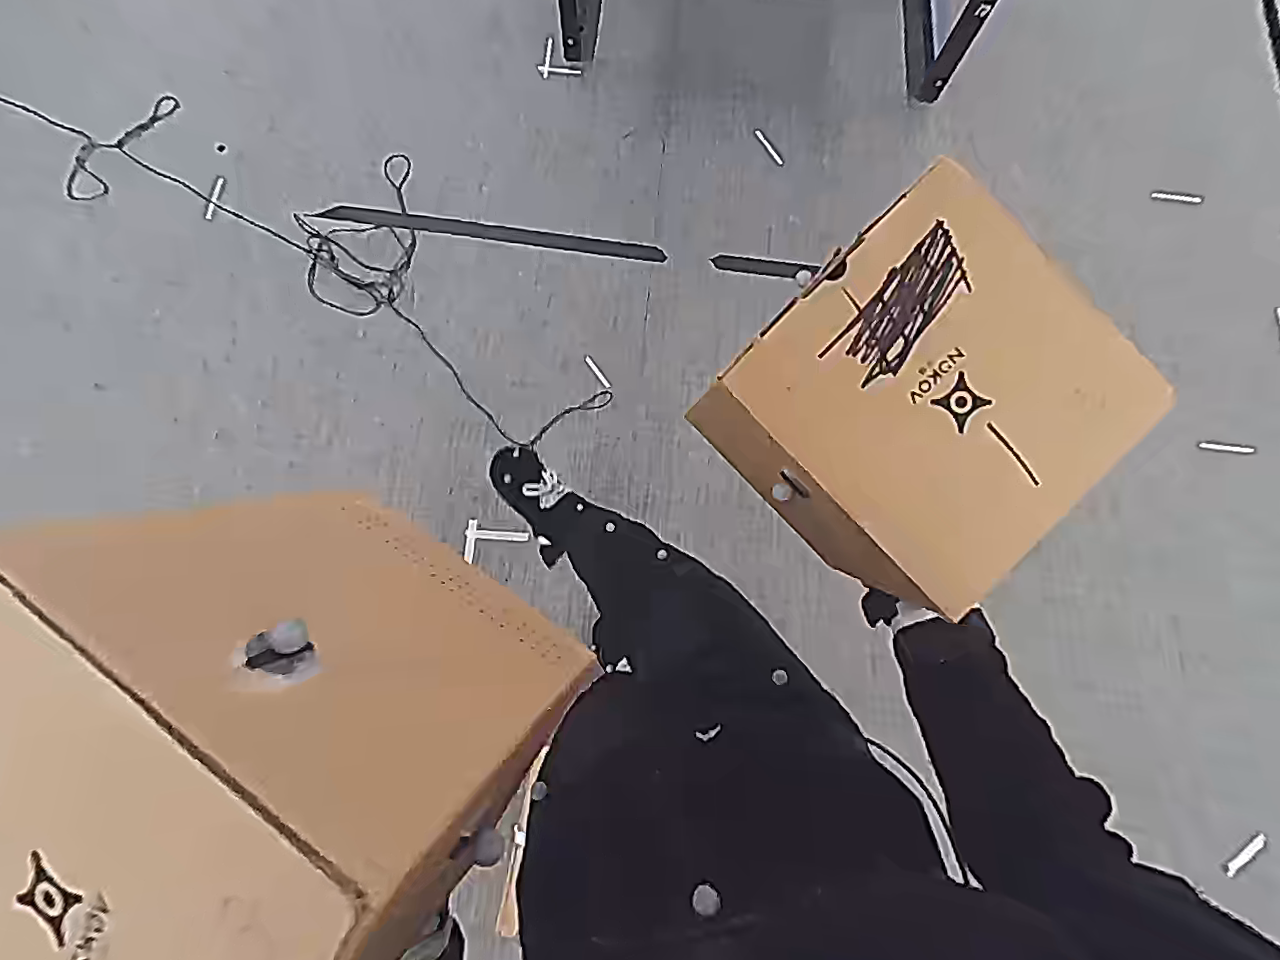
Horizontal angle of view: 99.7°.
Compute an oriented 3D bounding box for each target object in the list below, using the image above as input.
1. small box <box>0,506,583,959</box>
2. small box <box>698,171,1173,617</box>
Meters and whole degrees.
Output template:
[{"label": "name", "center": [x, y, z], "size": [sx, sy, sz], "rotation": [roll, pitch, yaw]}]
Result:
[{"label": "small box", "center": [-0.152, 0.125, 0.247], "size": [0.179, 0.176, 0.168], "rotation": [32, 102, 11]}, {"label": "small box", "center": [0.158, -0.043, 0.357], "size": [0.168, 0.176, 0.179], "rotation": [-44, 91, -1]}]
